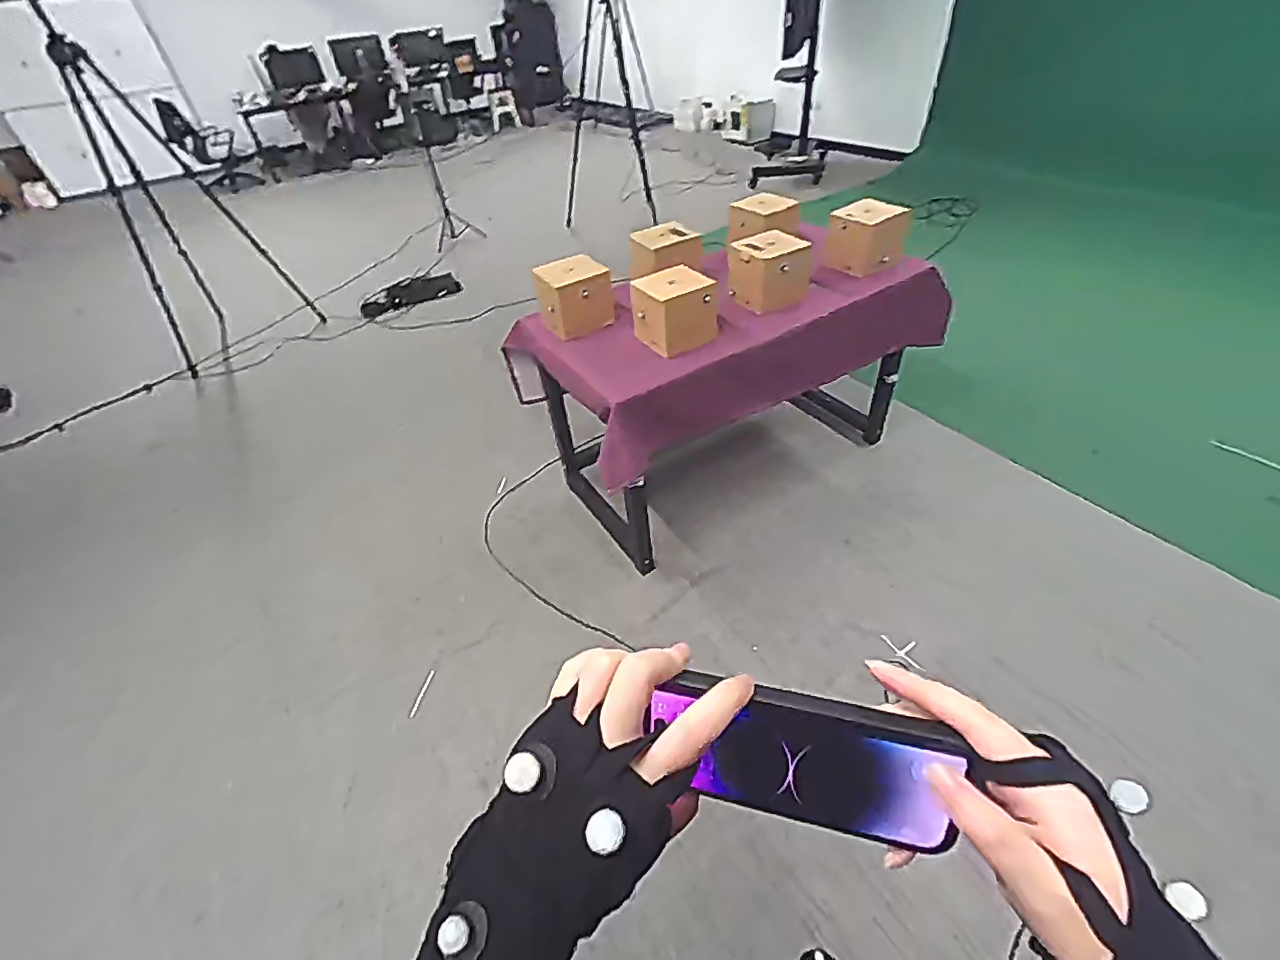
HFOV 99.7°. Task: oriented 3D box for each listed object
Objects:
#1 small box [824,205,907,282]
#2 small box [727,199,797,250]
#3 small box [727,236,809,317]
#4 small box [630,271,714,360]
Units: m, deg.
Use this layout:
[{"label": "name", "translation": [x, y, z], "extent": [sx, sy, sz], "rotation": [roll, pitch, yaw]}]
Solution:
[{"label": "small box", "translation": [0.719, -0.765, 1.746], "extent": [0.179, 0.176, 0.168], "rotation": [-27, 46, -21]}, {"label": "small box", "translation": [0.420, -0.861, 1.890], "extent": [0.168, 0.176, 0.179], "rotation": [-29, 47, -21]}, {"label": "small box", "translation": [0.381, -0.611, 1.627], "extent": [0.179, 0.176, 0.168], "rotation": [-24, 45, -18]}, {"label": "small box", "translation": [0.092, -0.454, 1.497], "extent": [0.179, 0.176, 0.168], "rotation": [-25, 45, -20]}]
